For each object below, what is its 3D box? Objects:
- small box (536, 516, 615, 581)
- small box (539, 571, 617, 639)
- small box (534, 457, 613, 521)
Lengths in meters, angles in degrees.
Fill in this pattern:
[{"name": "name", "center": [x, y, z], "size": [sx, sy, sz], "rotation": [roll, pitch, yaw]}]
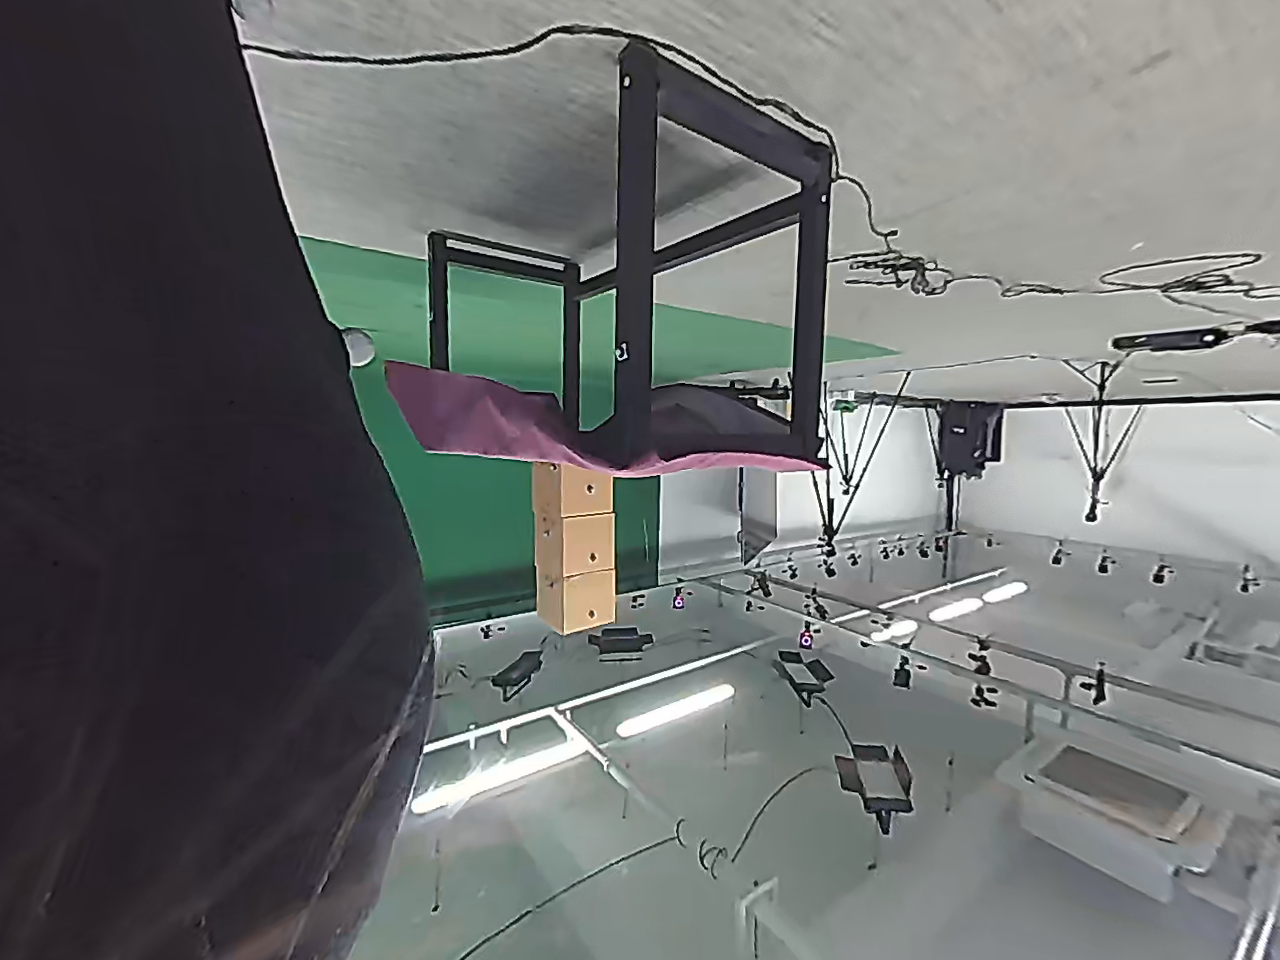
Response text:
[{"name": "small box", "center": [-0.188, 0.184, 1.576], "size": [0.179, 0.176, 0.168], "rotation": [-3, -175, -38]}, {"name": "small box", "center": [-0.184, 0.346, 1.591], "size": [0.179, 0.176, 0.168], "rotation": [-3, -175, -38]}, {"name": "small box", "center": [-0.195, 0.020, 1.560], "size": [0.179, 0.176, 0.168], "rotation": [-4, -174, -38]}]
